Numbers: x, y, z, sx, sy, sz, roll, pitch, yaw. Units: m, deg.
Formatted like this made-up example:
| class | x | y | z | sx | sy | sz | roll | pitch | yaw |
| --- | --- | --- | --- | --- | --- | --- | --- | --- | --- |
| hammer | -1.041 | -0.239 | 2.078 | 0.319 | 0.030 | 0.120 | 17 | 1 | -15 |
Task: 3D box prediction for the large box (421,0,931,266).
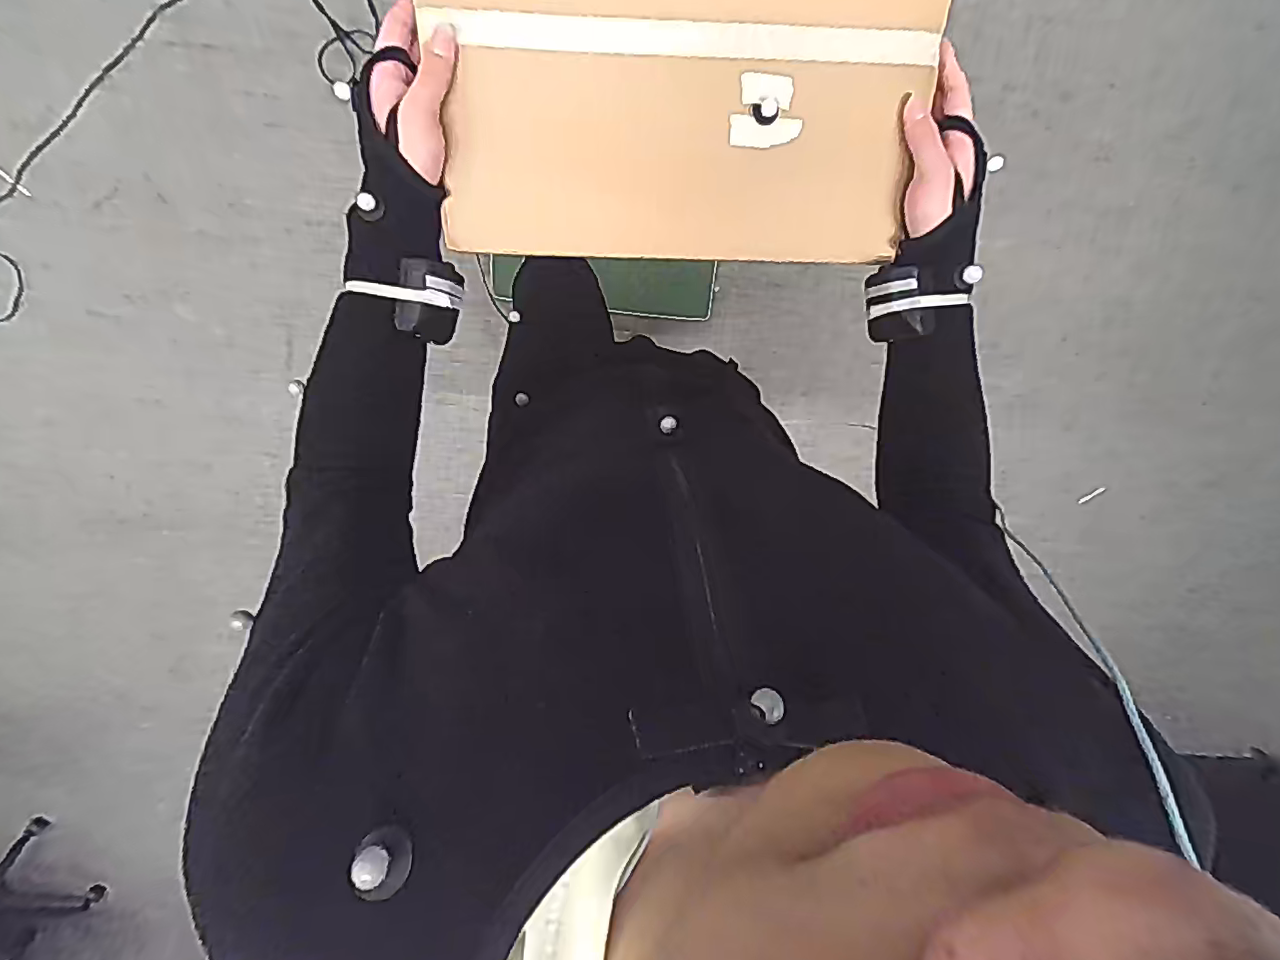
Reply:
| class | x | y | z | sx | sy | sz | roll | pitch | yaw |
| --- | --- | --- | --- | --- | --- | --- | --- | --- | --- |
| large box | 0.020 | -0.402 | 0.568 | 0.408 | 0.320 | 0.320 | 0 | 116 | -4 |
